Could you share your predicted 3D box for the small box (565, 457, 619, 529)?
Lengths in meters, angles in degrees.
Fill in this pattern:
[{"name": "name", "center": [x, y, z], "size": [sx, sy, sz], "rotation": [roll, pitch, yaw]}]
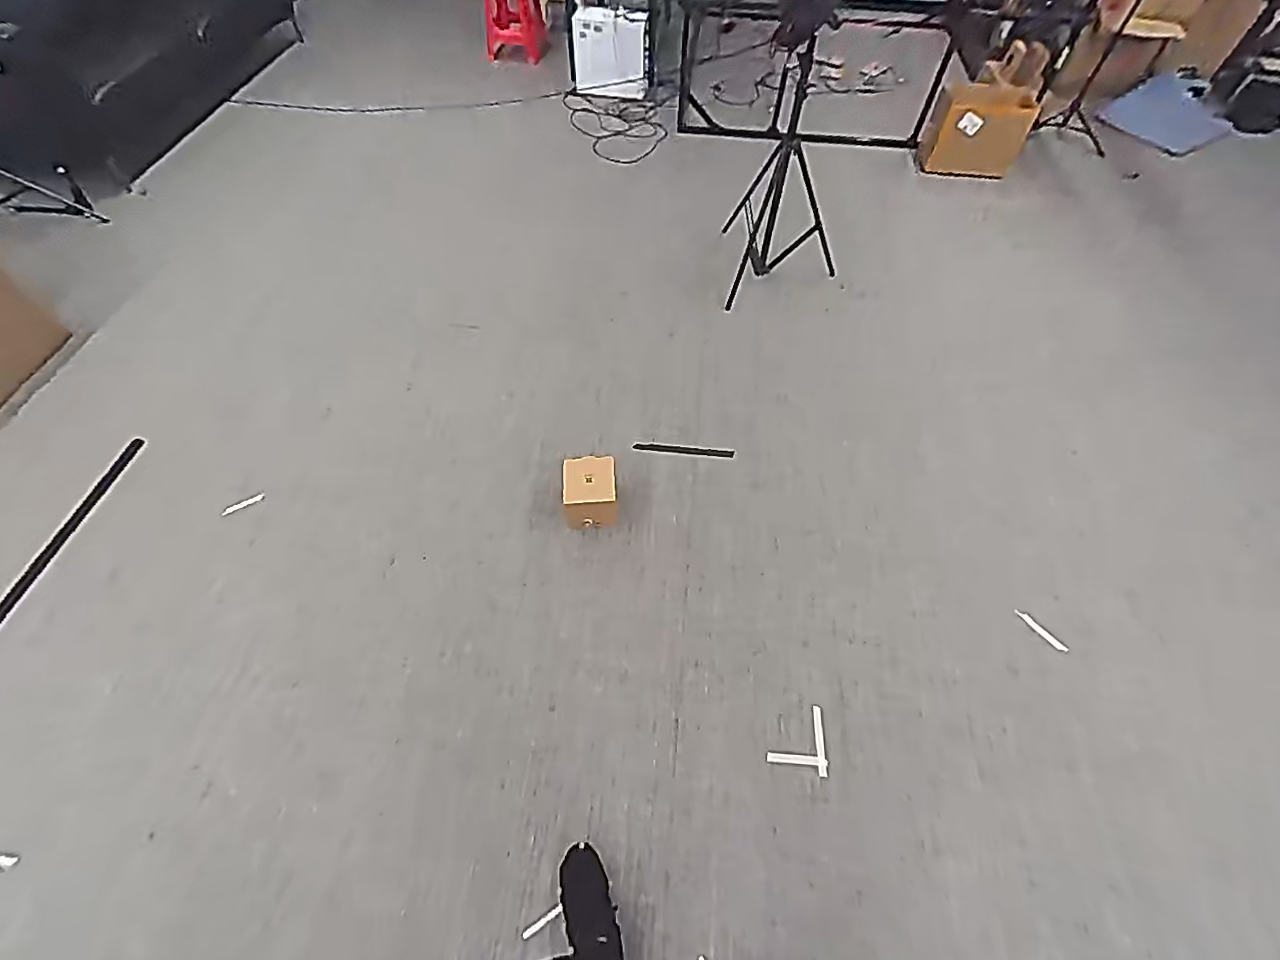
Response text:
[{"name": "small box", "center": [-0.156, 0.044, 1.787], "size": [0.168, 0.176, 0.179], "rotation": [-4, 56, -2]}]
